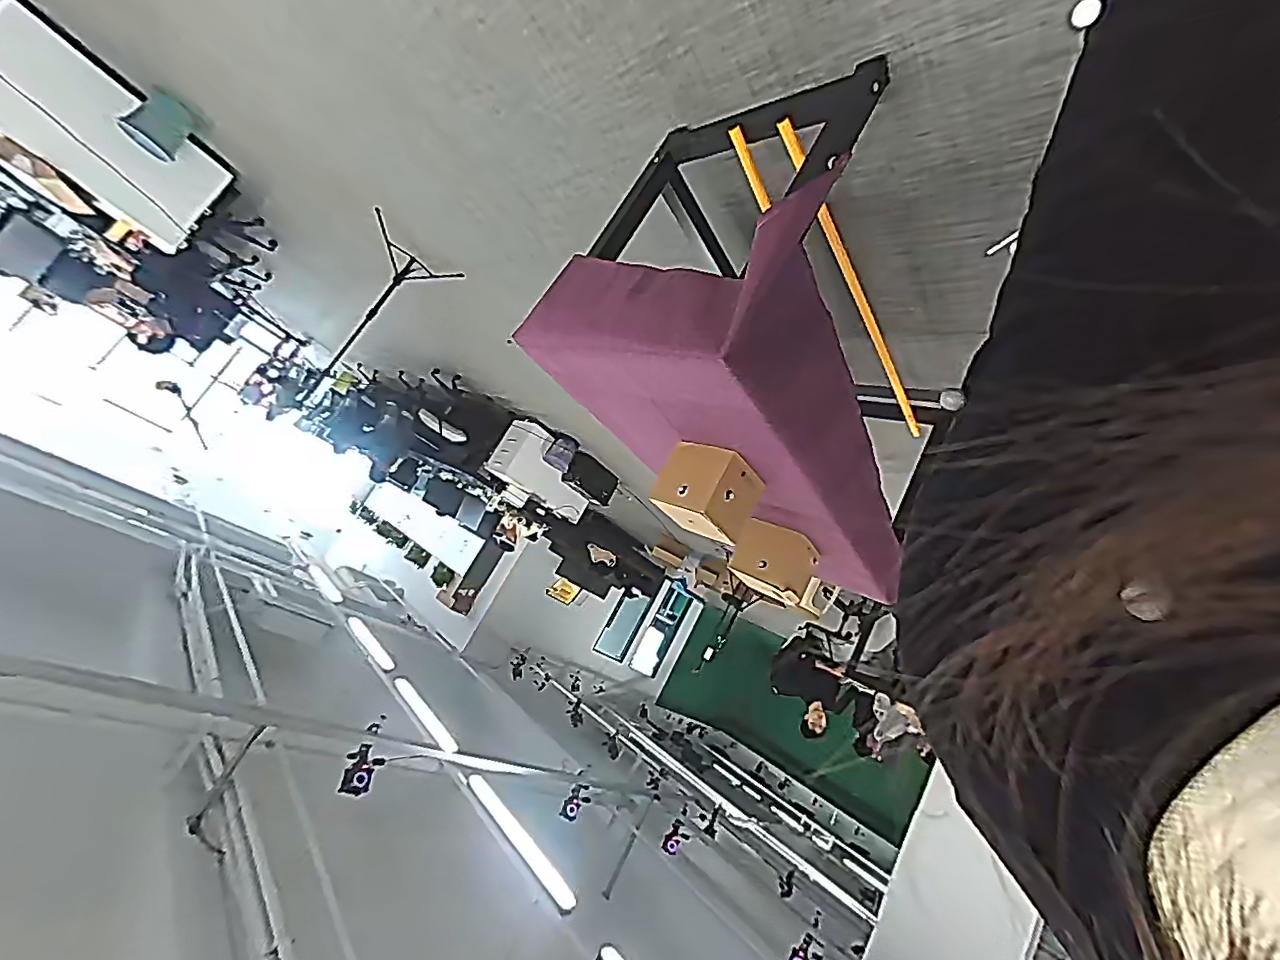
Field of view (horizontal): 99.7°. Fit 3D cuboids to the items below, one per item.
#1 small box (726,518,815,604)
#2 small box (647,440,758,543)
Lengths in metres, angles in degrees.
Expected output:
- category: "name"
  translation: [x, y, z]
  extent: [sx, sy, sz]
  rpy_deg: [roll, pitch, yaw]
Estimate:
- category: "small box"
  translation: [0.385, 0.228, 1.559]
  extent: [0.179, 0.176, 0.168]
  rpy_deg: [19, 163, 42]
- category: "small box"
  translation: [0.155, 0.022, 1.269]
  extent: [0.179, 0.176, 0.168]
  rpy_deg: [17, 162, 45]
